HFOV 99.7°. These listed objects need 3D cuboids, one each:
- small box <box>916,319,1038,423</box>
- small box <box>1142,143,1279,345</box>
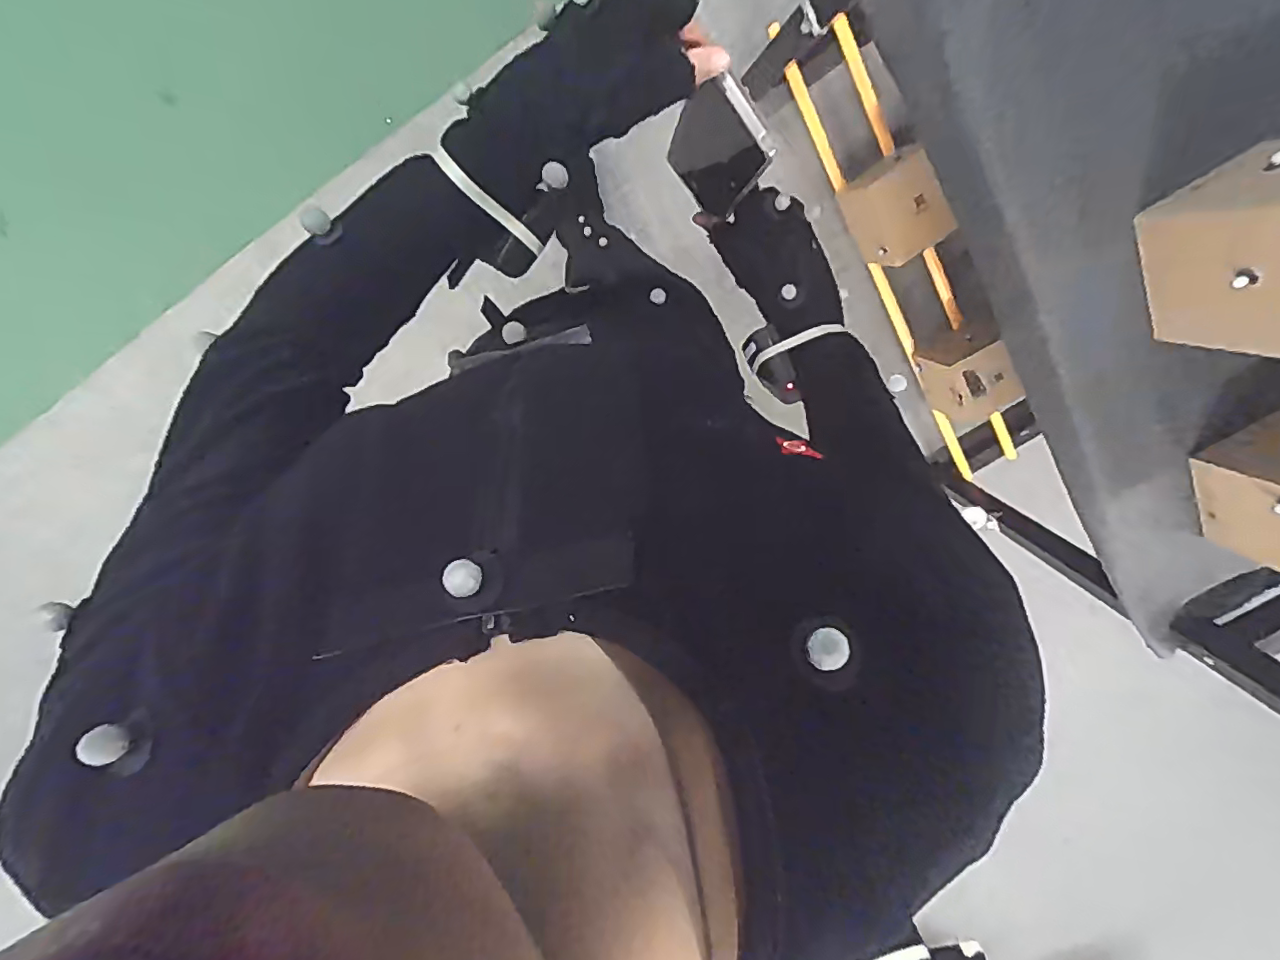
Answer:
[{"bbox_3d":[0.793,-0.266,1.293,0.179,0.176,0.168,-29,112,8],"label":"small box"},{"bbox_3d":[0.724,-0.269,0.609,0.168,0.176,0.179,-30,112,8],"label":"small box"}]
